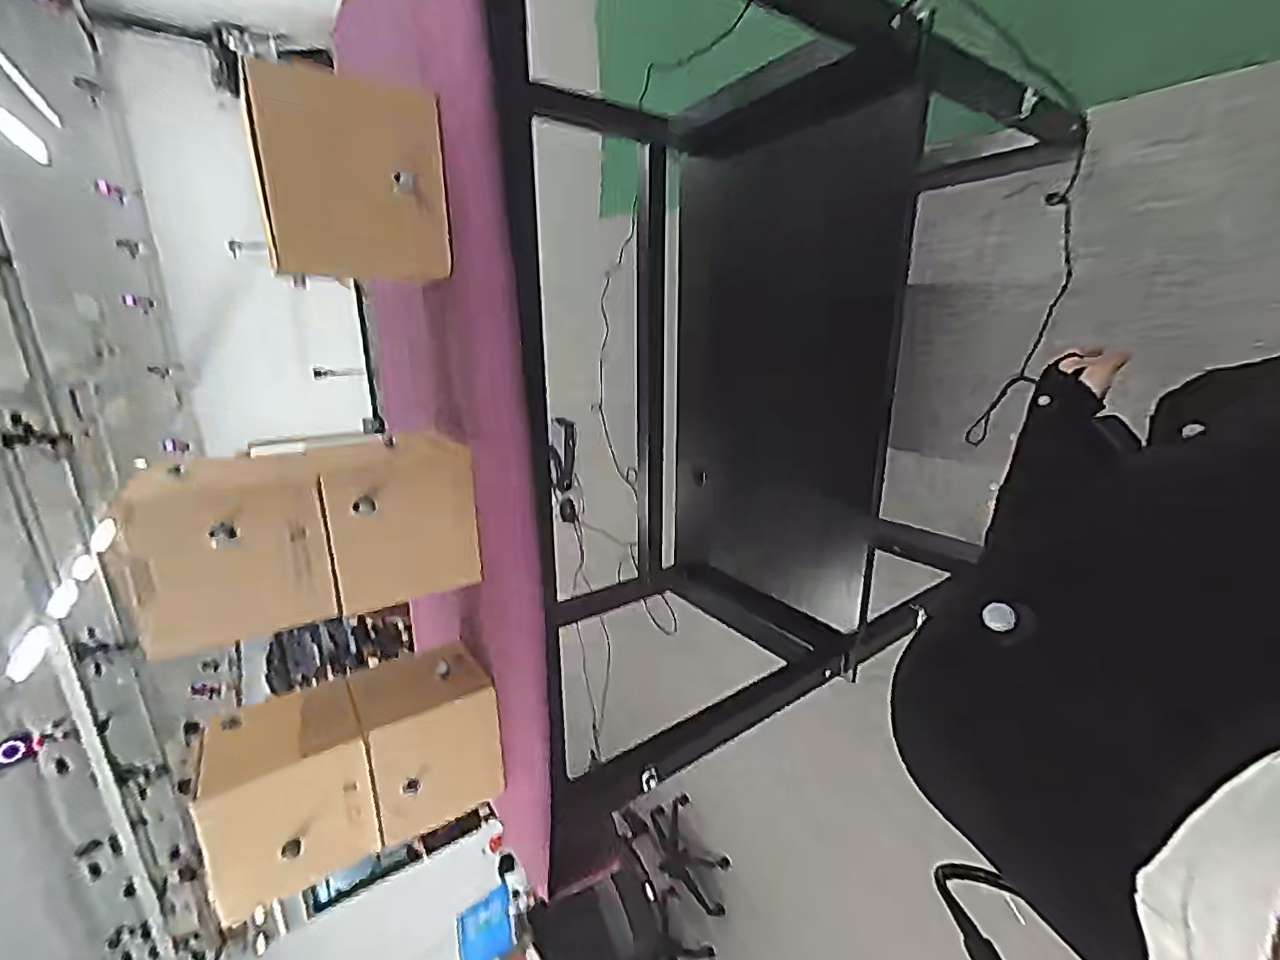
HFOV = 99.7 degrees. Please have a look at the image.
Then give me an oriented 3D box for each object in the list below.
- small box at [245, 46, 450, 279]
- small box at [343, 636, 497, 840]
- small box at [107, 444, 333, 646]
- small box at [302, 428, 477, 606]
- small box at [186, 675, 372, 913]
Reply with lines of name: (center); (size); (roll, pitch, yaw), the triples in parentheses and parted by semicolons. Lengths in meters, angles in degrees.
small box: (-0.321, -0.326, 0.600); (0.168, 0.176, 0.179); (22, 117, 53)
small box: (-0.315, 0.354, 0.781); (0.168, 0.176, 0.179); (16, 110, 53)
small box: (-0.460, 0.056, 0.619); (0.179, 0.176, 0.168); (21, 115, 53)
small box: (-0.322, 0.032, 0.703); (0.168, 0.176, 0.179); (22, 117, 52)
small box: (-0.450, 0.378, 0.694); (0.179, 0.176, 0.168); (14, 110, 54)
